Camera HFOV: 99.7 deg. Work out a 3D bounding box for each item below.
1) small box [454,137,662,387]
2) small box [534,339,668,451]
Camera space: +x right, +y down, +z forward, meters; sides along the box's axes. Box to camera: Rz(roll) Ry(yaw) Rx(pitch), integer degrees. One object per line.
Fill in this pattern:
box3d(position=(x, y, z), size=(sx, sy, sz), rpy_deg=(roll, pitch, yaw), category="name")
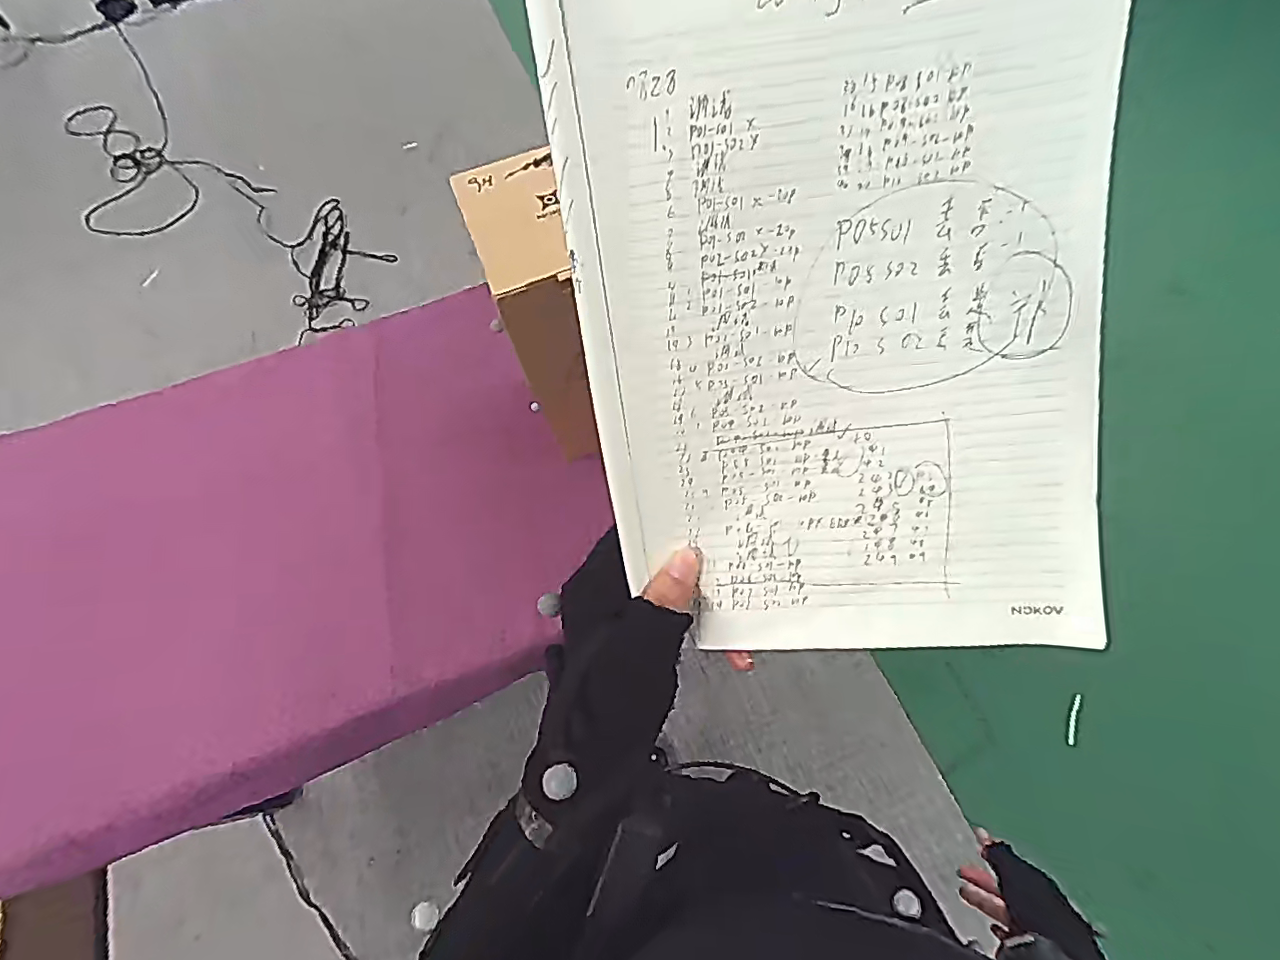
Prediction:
box3d(position=(-0.079, -0.224, 0.593), size=(0.168, 0.176, 0.179), rpy_deg=(-20, 67, -7), category="small box")
box3d(position=(-0.064, -0.158, 0.742), size=(0.168, 0.176, 0.179), rpy_deg=(-20, 65, -6), category="small box")
